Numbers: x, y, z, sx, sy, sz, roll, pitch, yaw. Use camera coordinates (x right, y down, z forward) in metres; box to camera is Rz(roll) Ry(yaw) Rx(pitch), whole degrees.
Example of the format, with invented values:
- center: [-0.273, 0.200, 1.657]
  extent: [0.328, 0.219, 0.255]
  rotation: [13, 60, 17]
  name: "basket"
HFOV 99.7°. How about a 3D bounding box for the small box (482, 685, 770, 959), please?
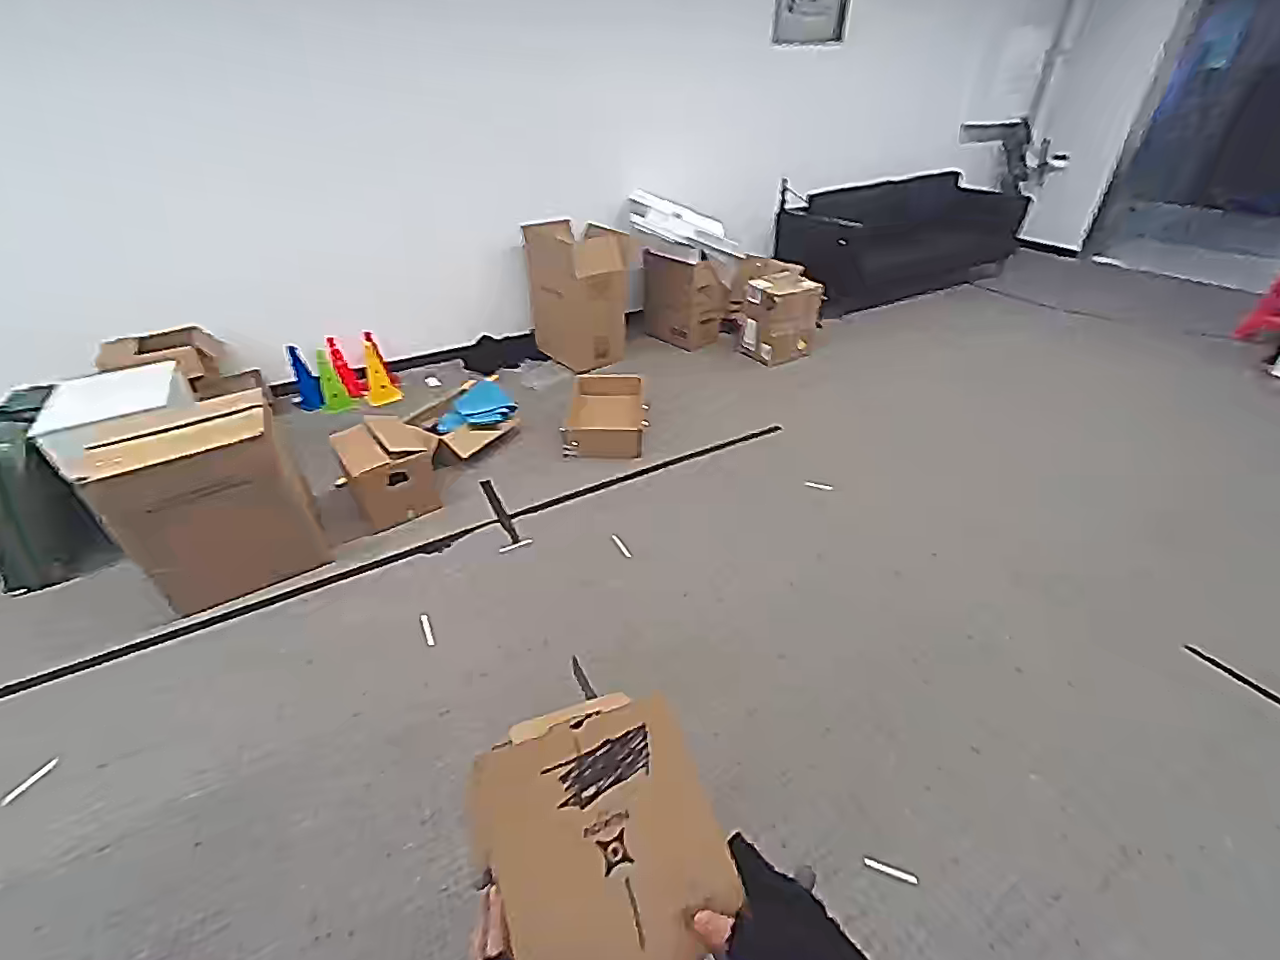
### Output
- center: [-0.031, 0.304, 0.451]
  extent: [0.168, 0.176, 0.179]
  rotation: [-9, 55, -25]
  name: "small box"
